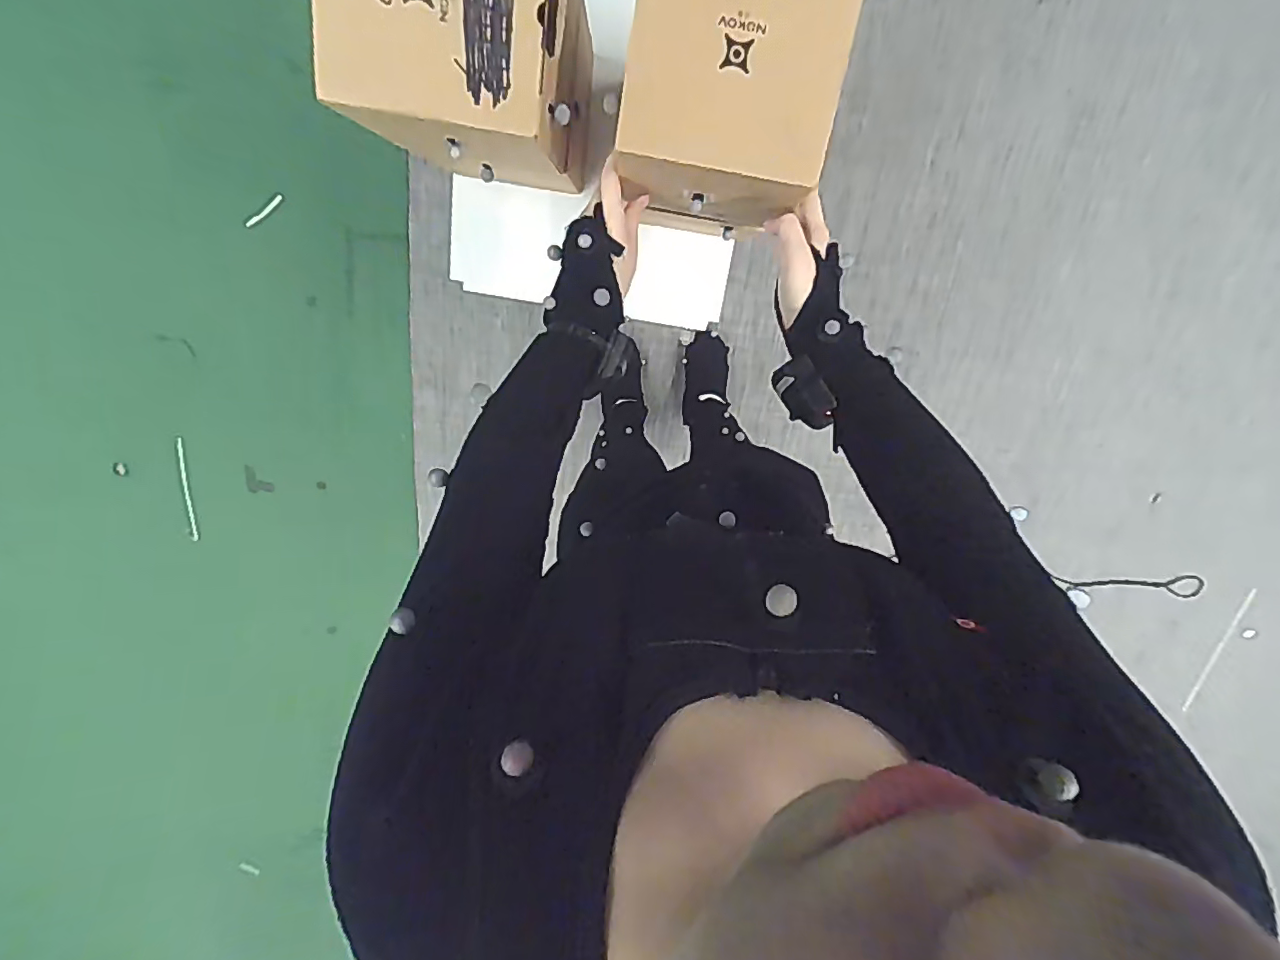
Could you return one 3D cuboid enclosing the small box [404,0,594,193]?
[{"bbox_3d":[-0.154,-0.445,0.630,0.179,0.176,0.168,7,111,-4],"label":"small box"}]

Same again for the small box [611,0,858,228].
[{"bbox_3d":[0.073,-0.342,0.484,0.168,0.176,0.179,10,105,-2],"label":"small box"}]
